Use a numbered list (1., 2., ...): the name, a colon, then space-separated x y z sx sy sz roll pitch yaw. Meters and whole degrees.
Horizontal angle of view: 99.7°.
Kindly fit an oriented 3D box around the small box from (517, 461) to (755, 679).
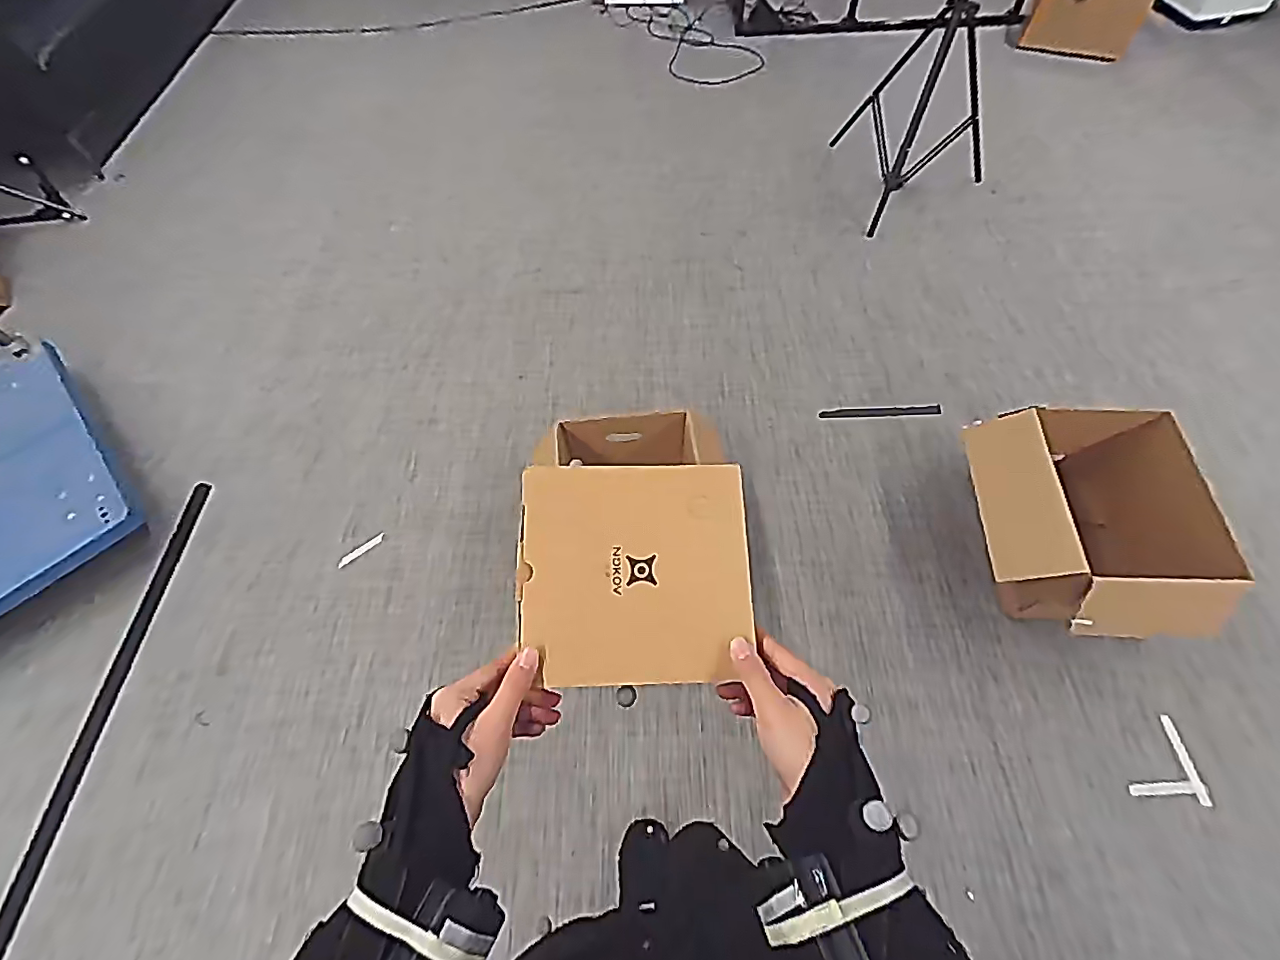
1. small box: -0.006 0.085 0.489 0.179 0.176 0.168 -1 73 -1
